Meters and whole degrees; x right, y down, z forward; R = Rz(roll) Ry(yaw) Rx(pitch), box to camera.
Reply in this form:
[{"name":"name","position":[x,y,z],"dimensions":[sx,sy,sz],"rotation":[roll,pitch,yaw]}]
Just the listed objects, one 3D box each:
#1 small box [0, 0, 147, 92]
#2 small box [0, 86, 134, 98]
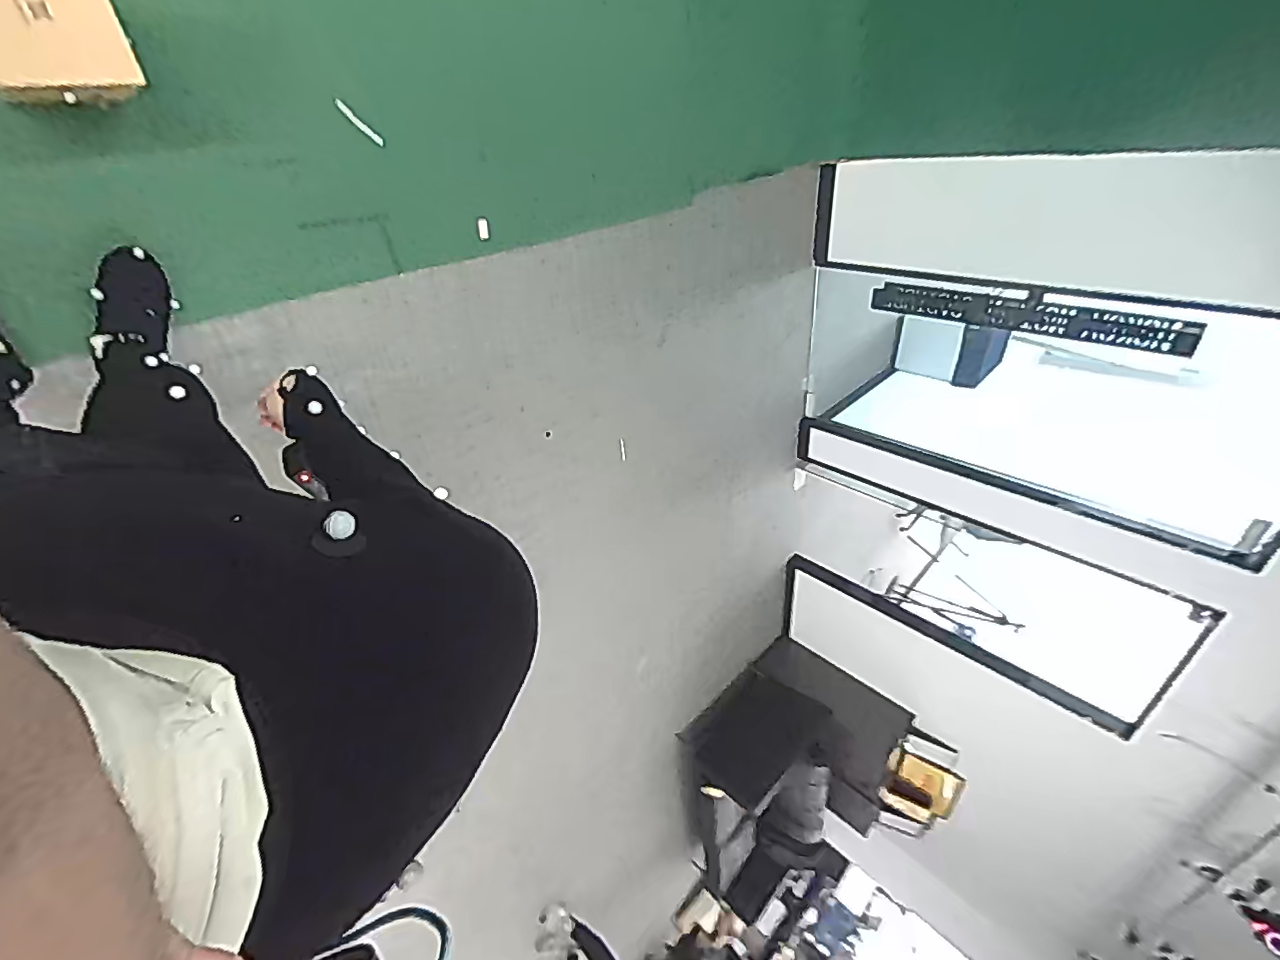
[{"name":"small box","position":[-0.864,-0.663,0.772],"dimensions":[0.179,0.176,0.168],"rotation":[-30,131,-33]},{"name":"small box","position":[-0.977,-0.724,0.871],"dimensions":[0.179,0.176,0.168],"rotation":[-30,131,-35]}]
